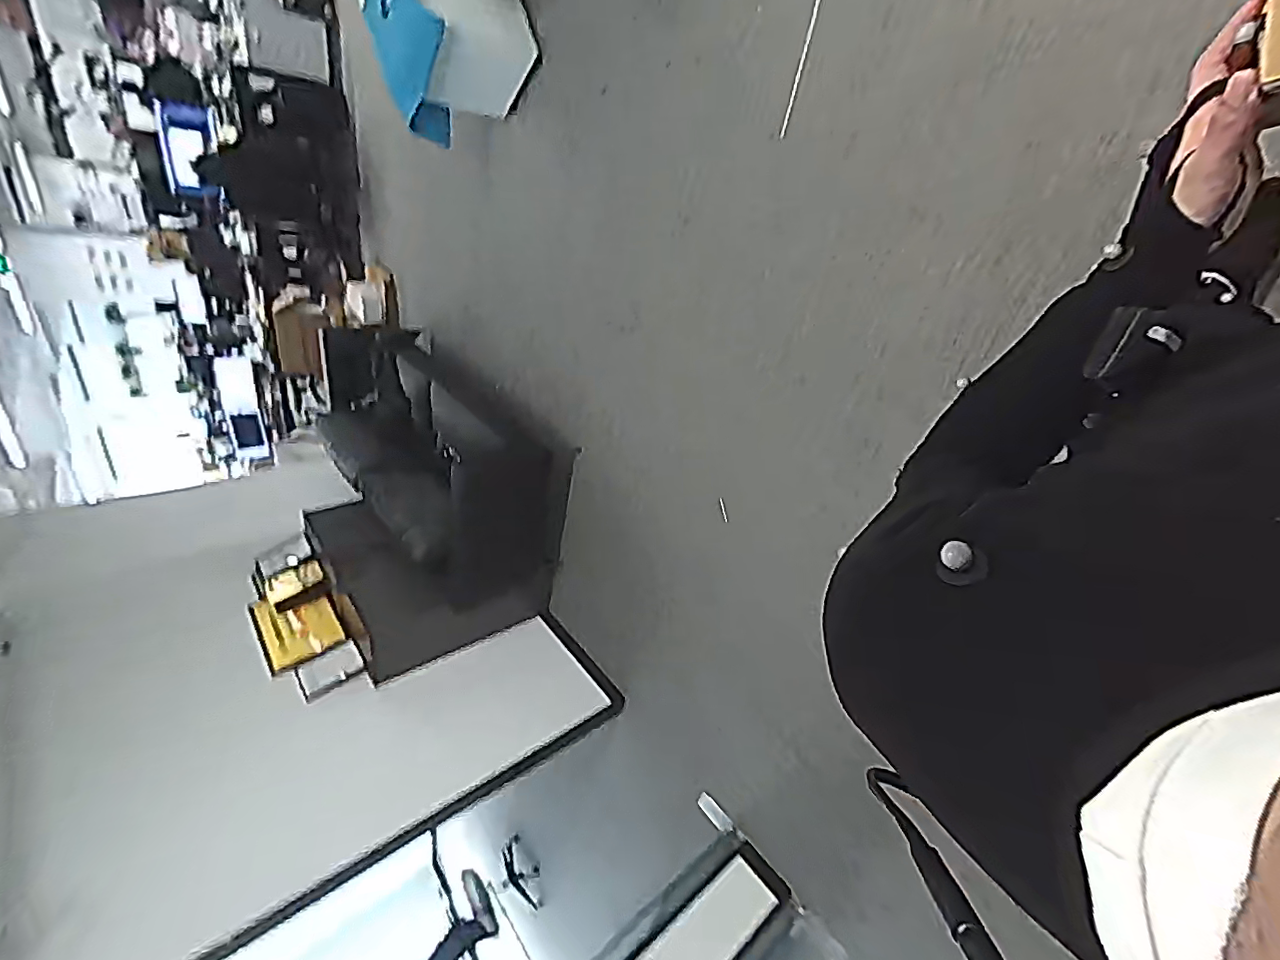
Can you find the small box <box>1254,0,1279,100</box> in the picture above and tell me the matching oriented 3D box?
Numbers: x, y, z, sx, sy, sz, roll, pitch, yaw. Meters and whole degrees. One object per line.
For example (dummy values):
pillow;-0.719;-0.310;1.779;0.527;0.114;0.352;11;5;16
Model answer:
small box;0.473;-0.345;0.297;0.168;0.176;0.179;7;113;47
